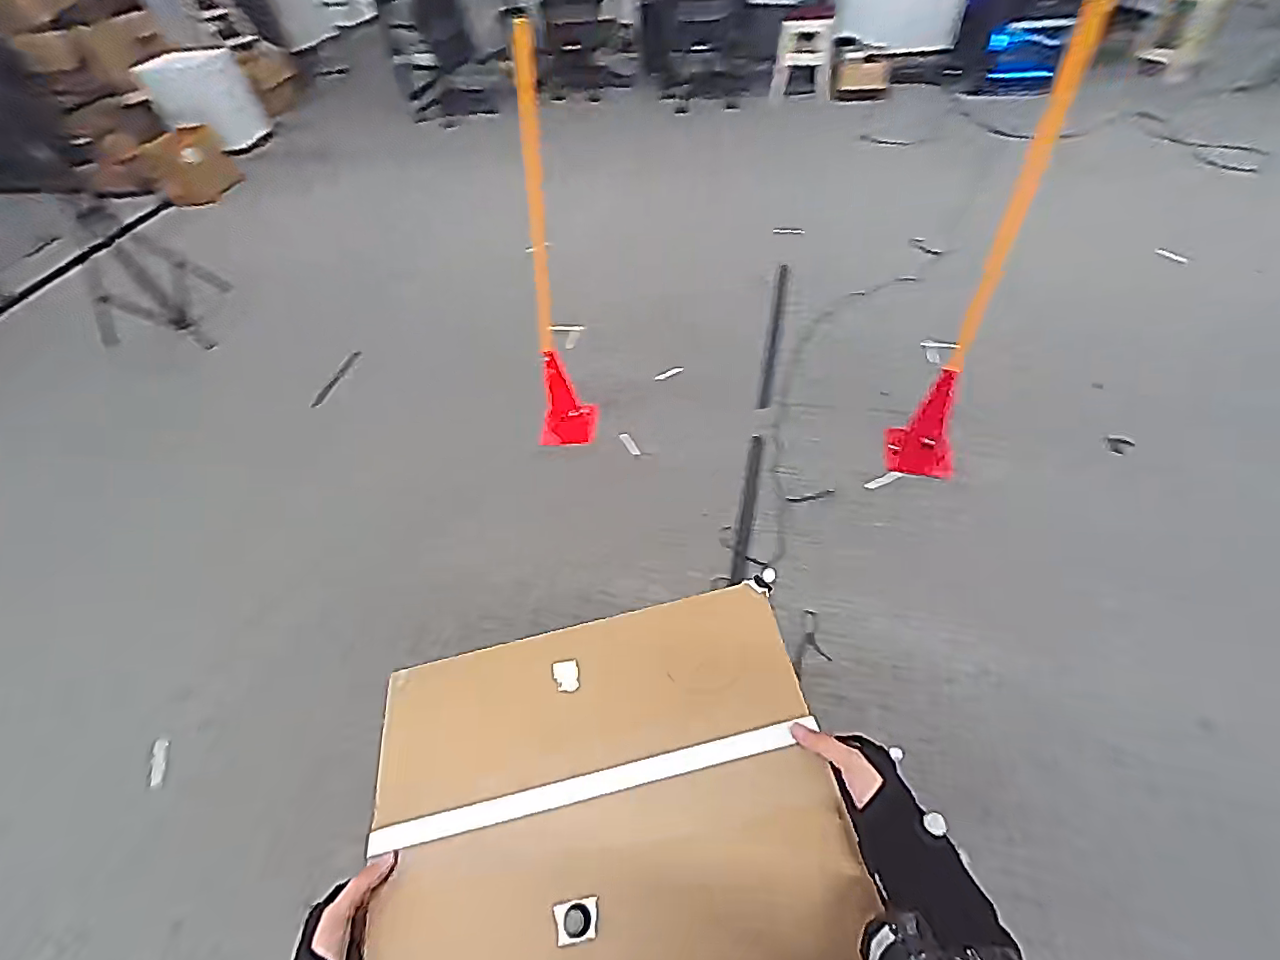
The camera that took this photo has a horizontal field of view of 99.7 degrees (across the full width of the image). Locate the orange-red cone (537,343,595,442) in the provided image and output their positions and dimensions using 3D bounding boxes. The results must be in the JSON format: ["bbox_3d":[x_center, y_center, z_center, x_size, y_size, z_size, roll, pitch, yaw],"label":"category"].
[{"bbox_3d":[-0.296,-0.321,1.890,0.199,0.360,0.198,-1,51,8],"label":"orange-red cone"}]
